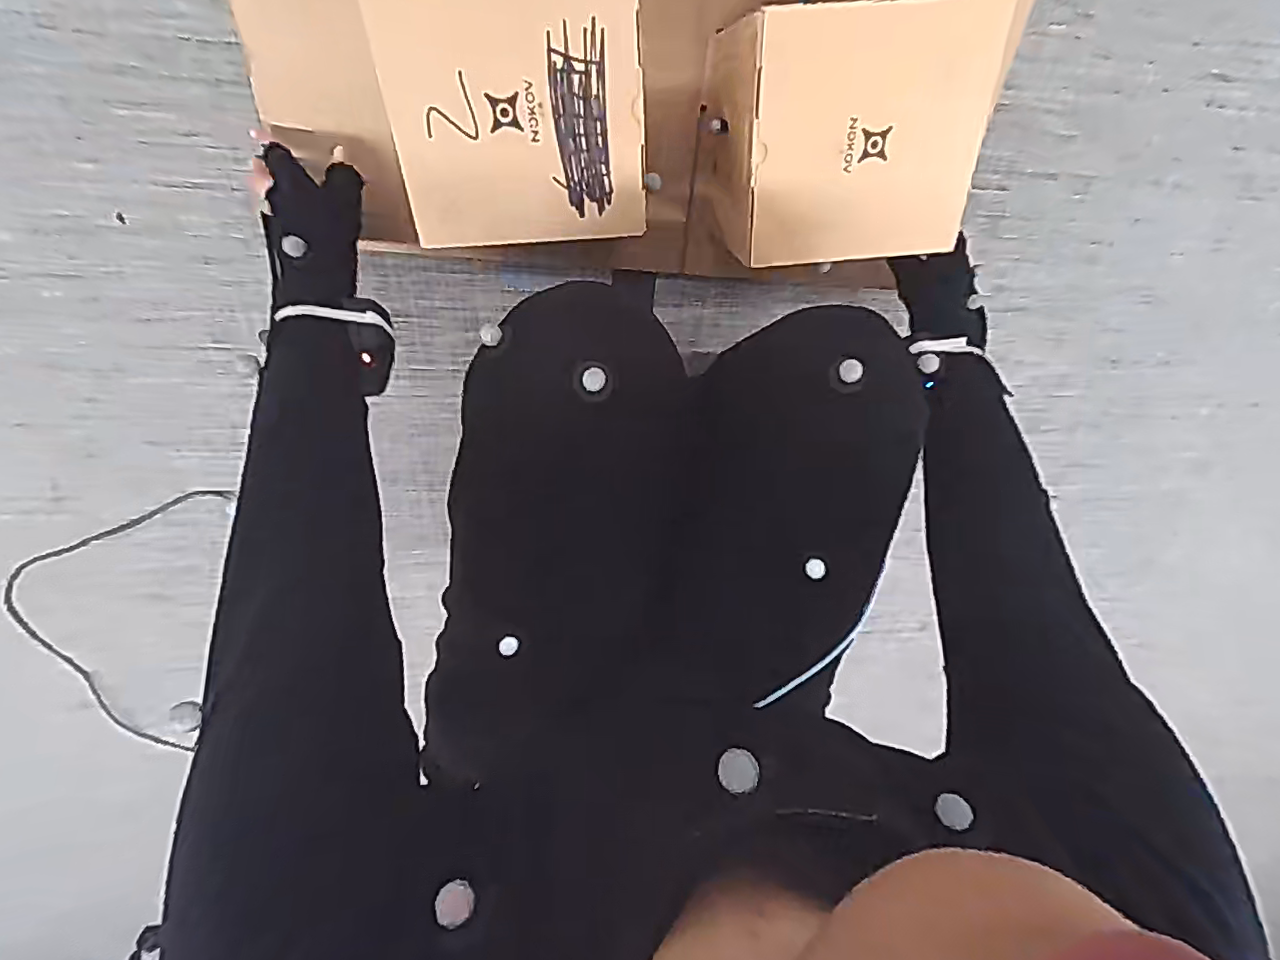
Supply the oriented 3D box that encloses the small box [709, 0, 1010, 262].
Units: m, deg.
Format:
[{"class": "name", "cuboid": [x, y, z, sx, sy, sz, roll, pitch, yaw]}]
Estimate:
[{"class": "small box", "cuboid": [0.164, -0.301, 0.475, 0.179, 0.176, 0.168, -5, 125, -1]}]
